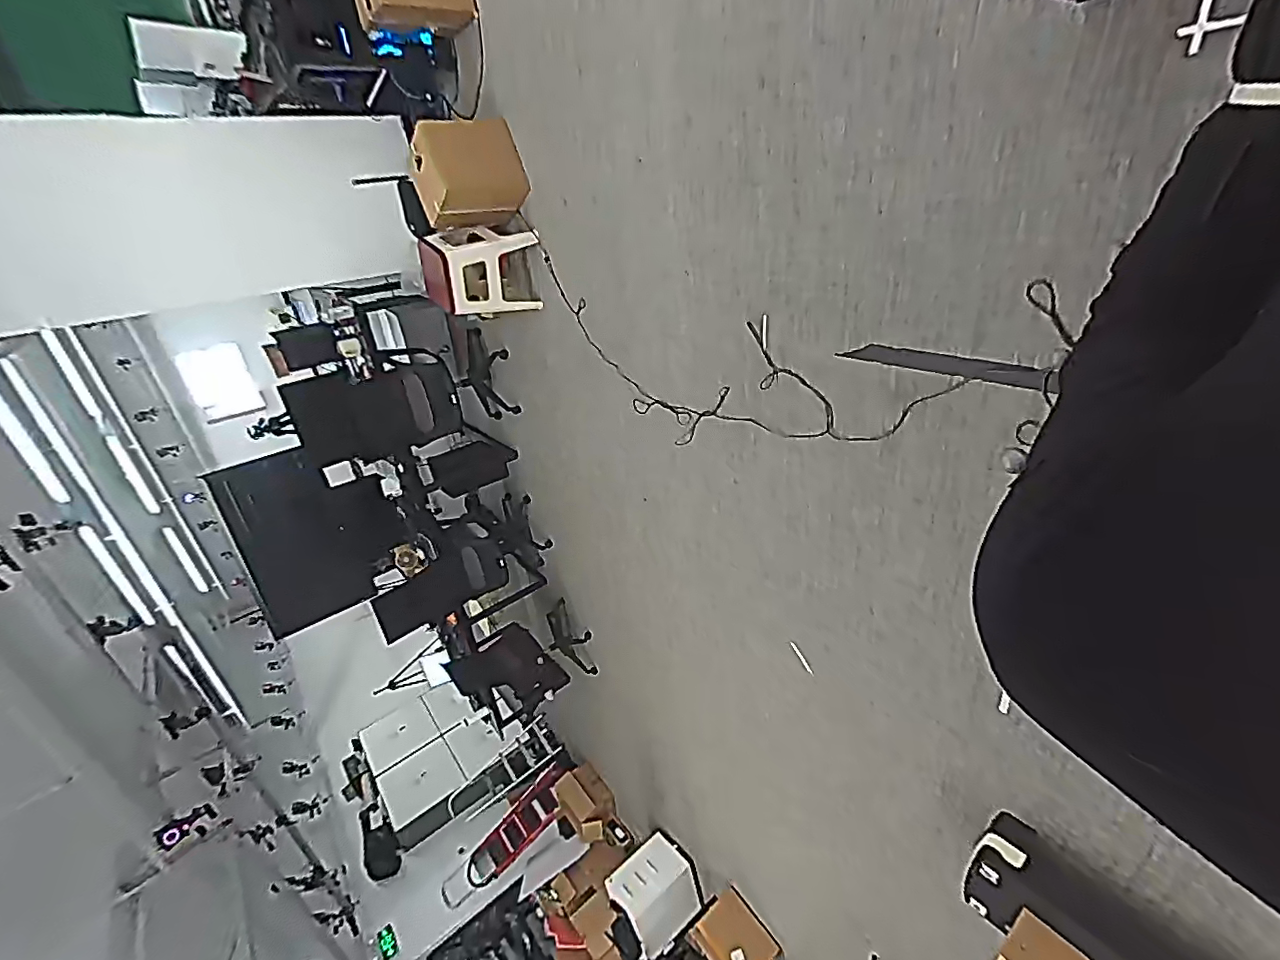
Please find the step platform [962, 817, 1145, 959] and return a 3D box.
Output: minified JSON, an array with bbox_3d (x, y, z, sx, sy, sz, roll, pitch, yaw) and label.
[{"bbox_3d":[1.299,1.328,1.521,0.684,0.204,0.286,25,132,45],"label":"step platform"}]
